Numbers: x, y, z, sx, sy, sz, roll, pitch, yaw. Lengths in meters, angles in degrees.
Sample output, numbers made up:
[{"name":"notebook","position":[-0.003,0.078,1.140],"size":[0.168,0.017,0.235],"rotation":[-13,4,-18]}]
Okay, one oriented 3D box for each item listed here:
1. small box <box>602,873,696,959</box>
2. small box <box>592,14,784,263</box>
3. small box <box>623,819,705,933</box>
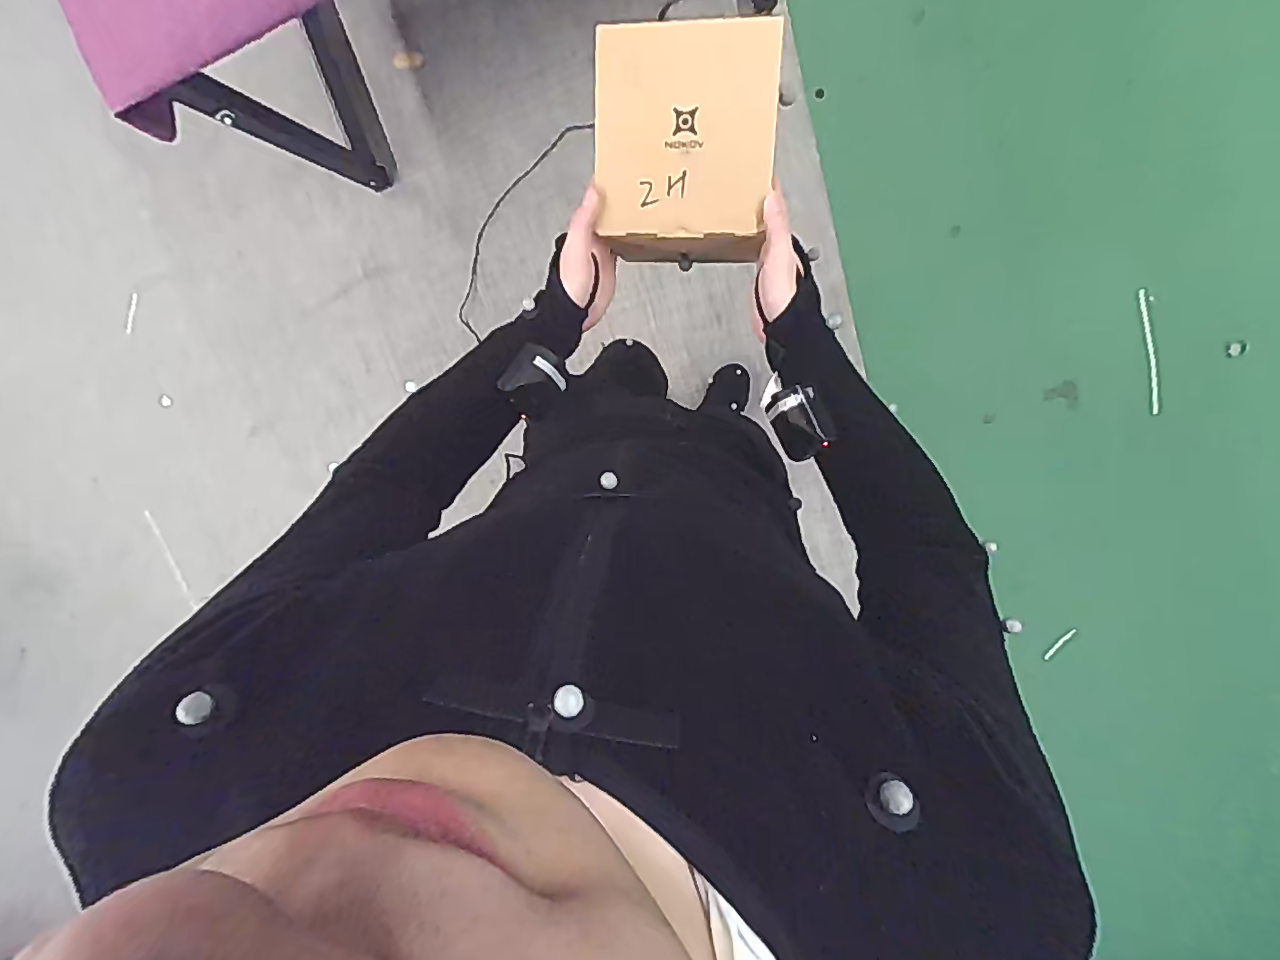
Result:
[{"name":"small box","position":[0.027,1.008,1.191],"size":[0.168,0.176,0.179],"rotation":[-8,102,12]},{"name":"small box","position":[0.049,-0.337,0.566],"size":[0.168,0.176,0.179],"rotation":[4,104,7]},{"name":"small box","position":[0.064,0.978,1.348],"size":[0.168,0.176,0.179],"rotation":[-11,102,12]}]
